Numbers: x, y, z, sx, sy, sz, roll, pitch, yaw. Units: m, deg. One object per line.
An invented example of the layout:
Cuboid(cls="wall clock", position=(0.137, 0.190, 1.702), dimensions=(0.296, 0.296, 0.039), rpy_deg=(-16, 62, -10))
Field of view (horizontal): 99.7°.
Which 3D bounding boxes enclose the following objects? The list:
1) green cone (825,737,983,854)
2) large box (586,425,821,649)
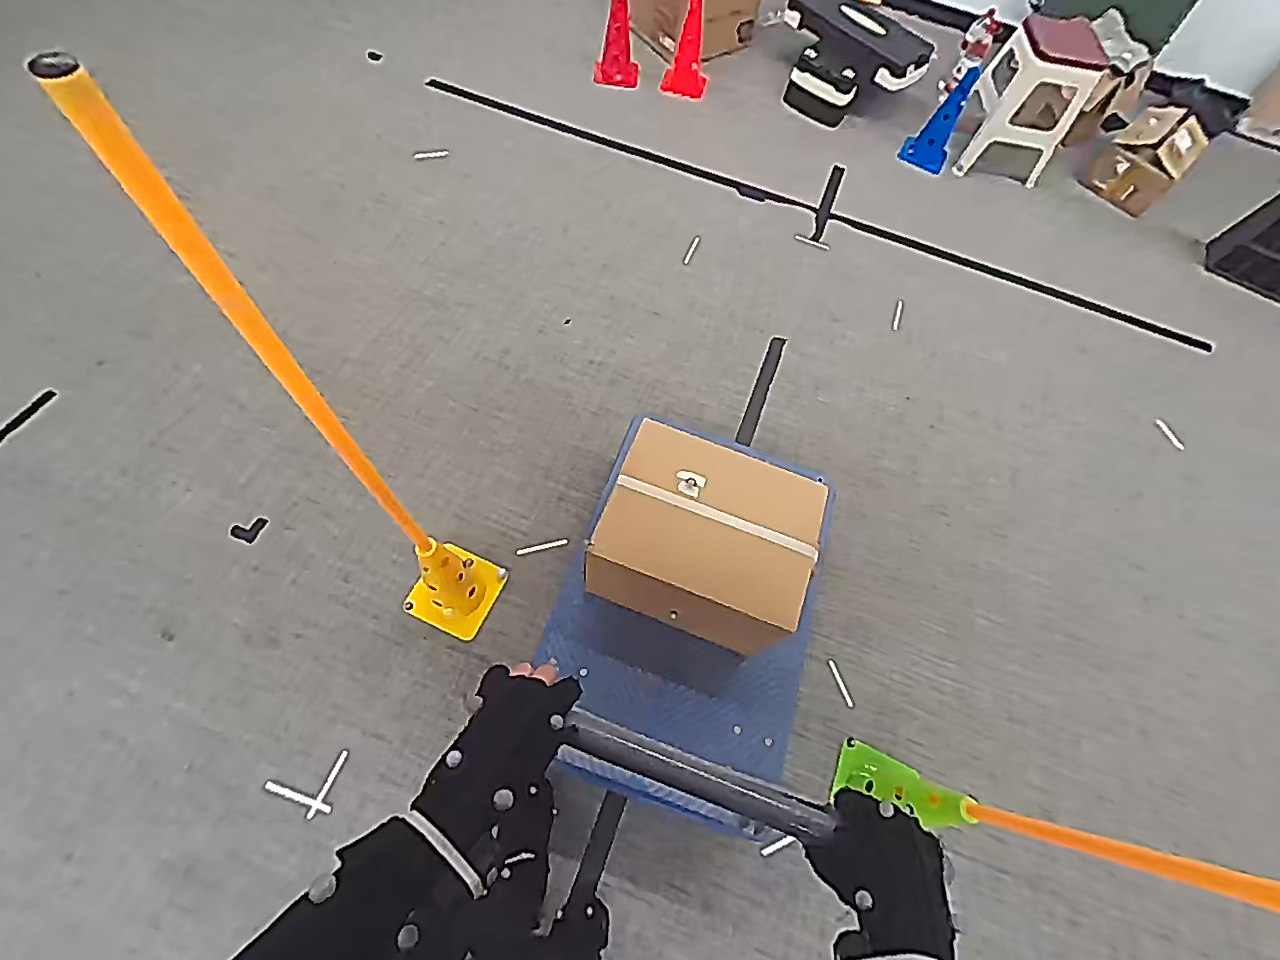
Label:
Cuboid(cls="green cone", position=(0.577, 0.679, 1.141), dimensions=(0.202, 0.368, 0.200), rpy_deg=(26, 64, 4))
Cuboid(cls="large box", position=(0.124, 0.140, 1.187), dimensions=(0.408, 0.320, 0.320), rpy_deg=(21, 65, 4))
